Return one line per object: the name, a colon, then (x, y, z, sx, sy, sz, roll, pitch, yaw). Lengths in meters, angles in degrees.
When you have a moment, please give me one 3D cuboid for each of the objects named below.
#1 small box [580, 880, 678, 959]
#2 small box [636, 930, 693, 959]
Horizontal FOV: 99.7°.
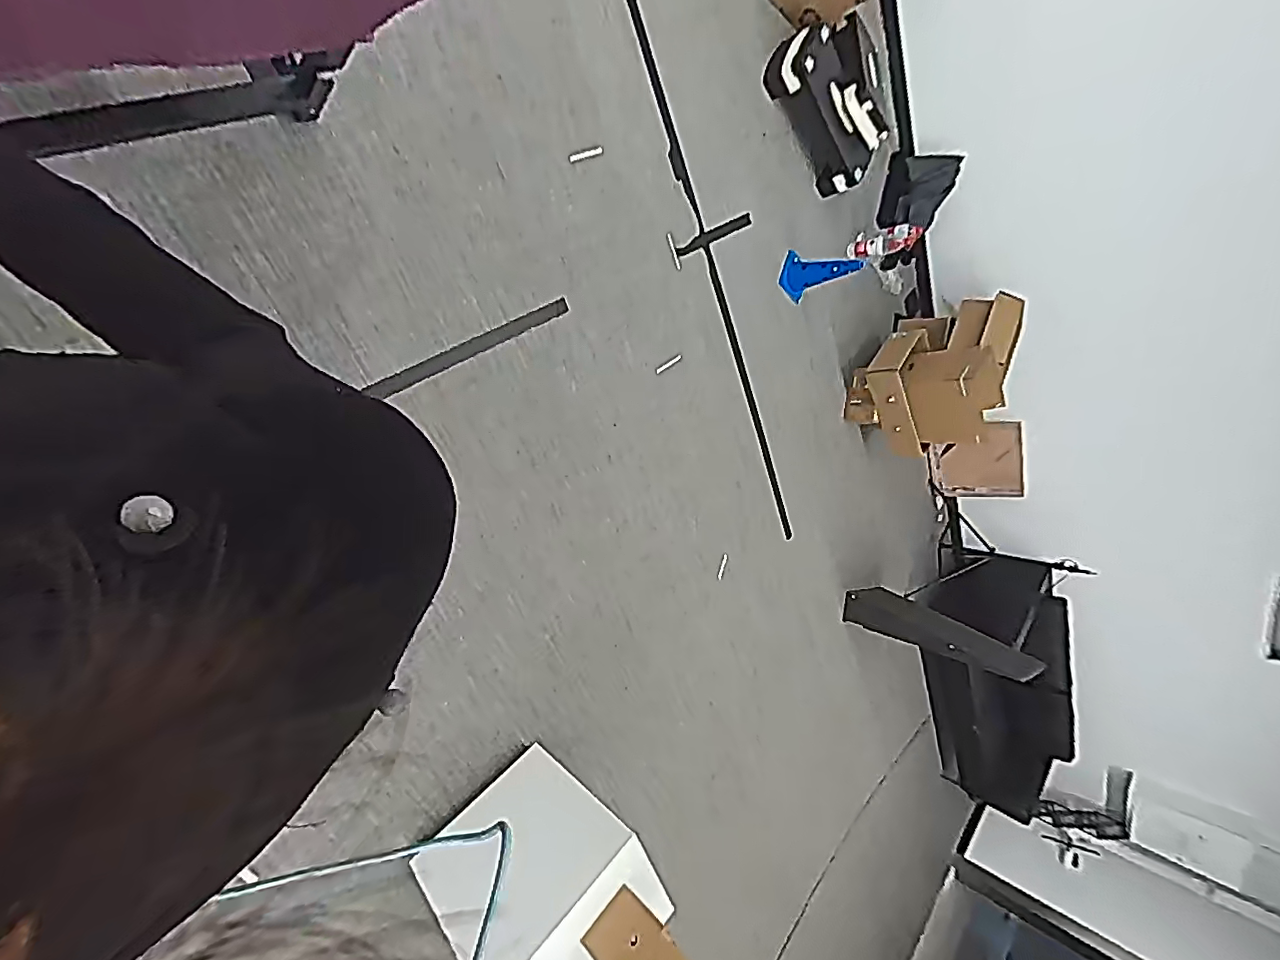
small box: (-0.030, 1.246, 1.466, 0.179, 0.176, 0.168, -37, 119, -31)
small box: (0.073, 1.281, 1.344, 0.168, 0.176, 0.179, -37, 120, -32)
